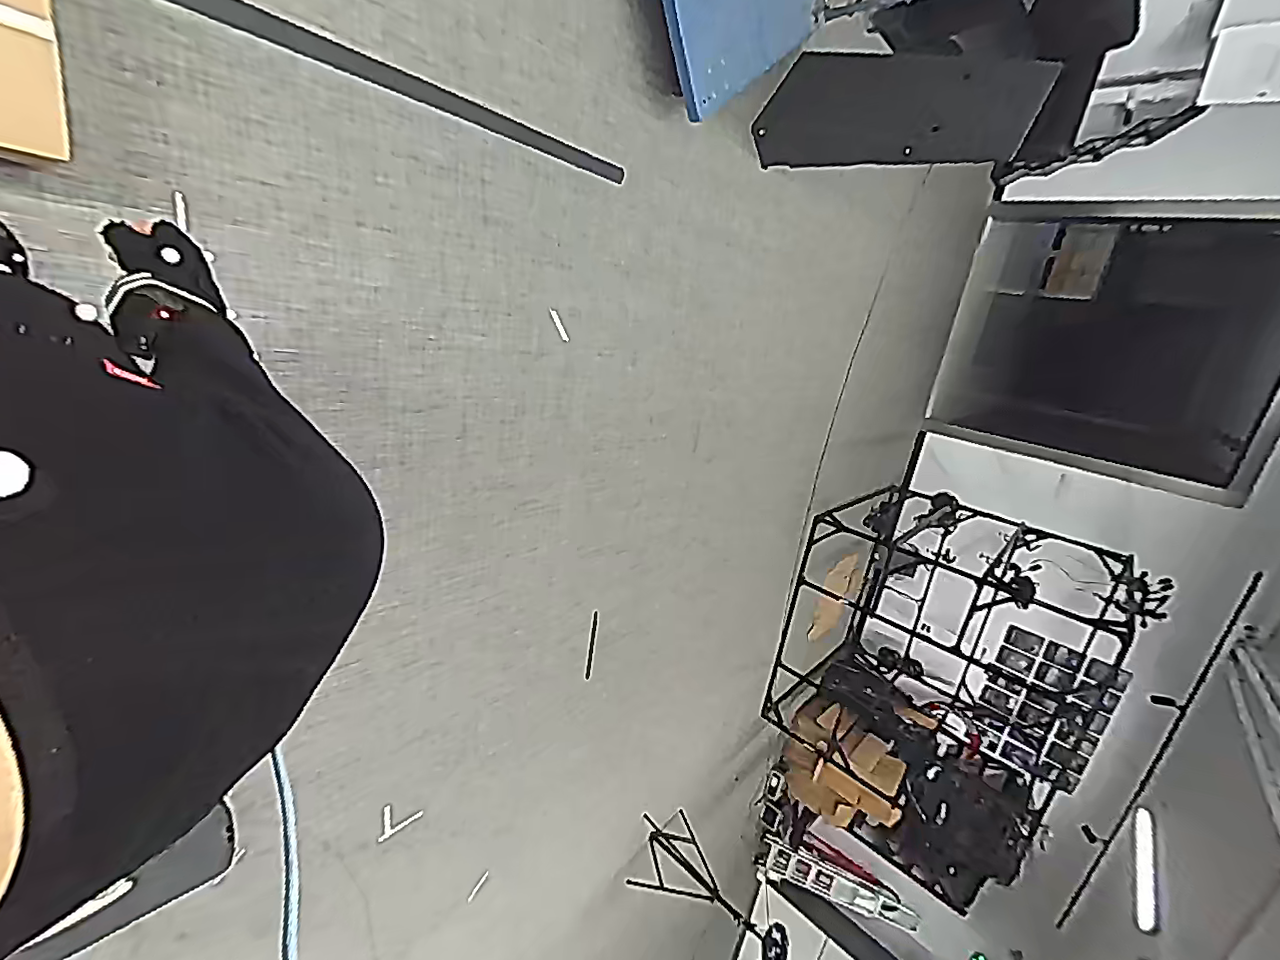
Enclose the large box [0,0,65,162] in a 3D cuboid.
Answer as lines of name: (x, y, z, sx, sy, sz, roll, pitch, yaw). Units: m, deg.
large box: (-1.034, -0.624, 0.661, 0.408, 0.320, 0.320, -11, 117, -50)
